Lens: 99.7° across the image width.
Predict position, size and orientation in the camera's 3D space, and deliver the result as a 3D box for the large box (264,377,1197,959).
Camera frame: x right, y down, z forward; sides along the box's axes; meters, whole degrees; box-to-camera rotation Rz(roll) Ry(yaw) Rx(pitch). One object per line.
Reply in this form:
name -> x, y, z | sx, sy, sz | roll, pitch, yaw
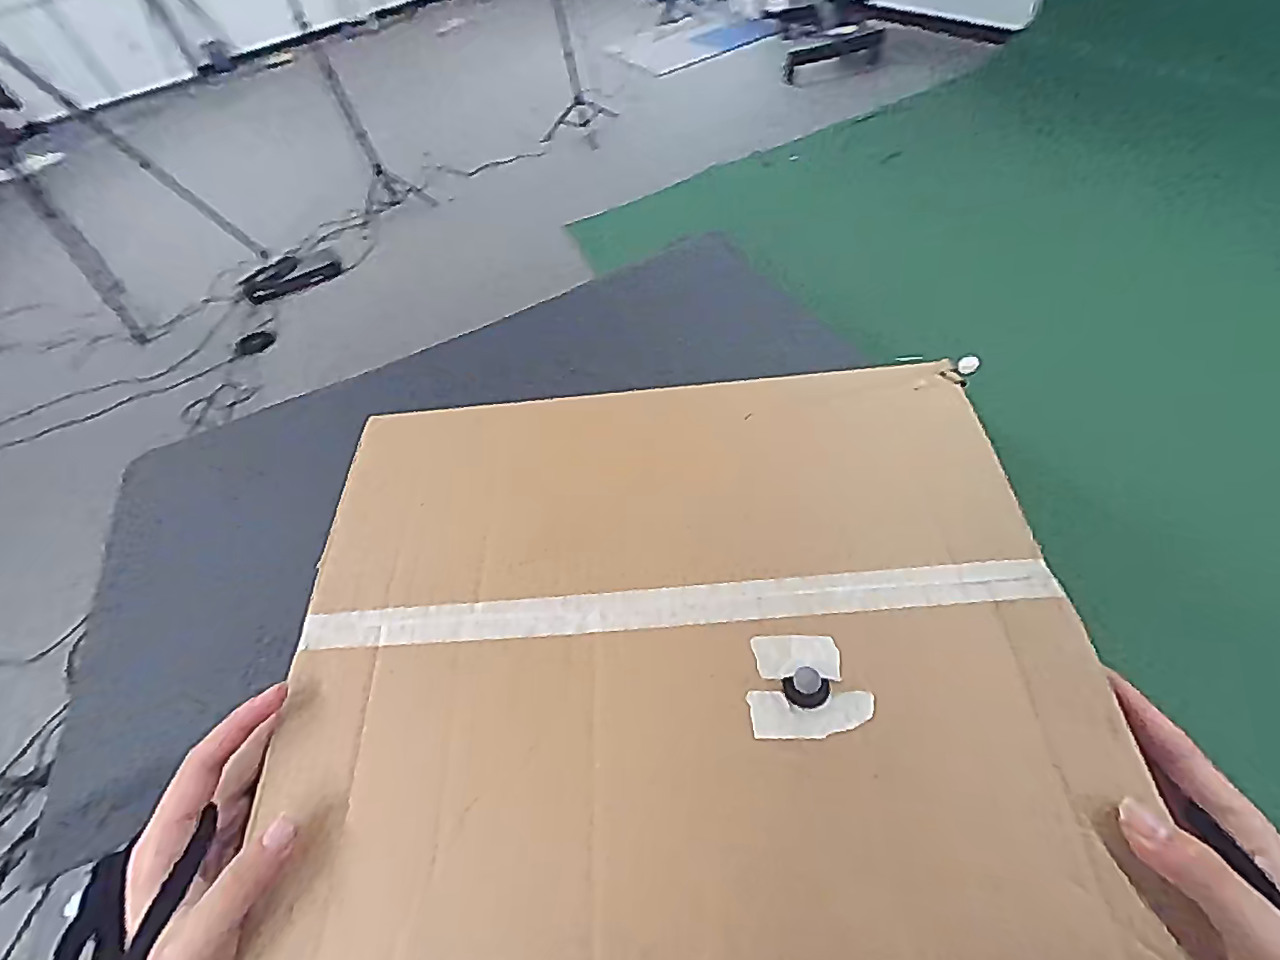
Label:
large box -> 0.035, 0.151, 0.431 | 0.408, 0.320, 0.320 | -4, 58, 3
